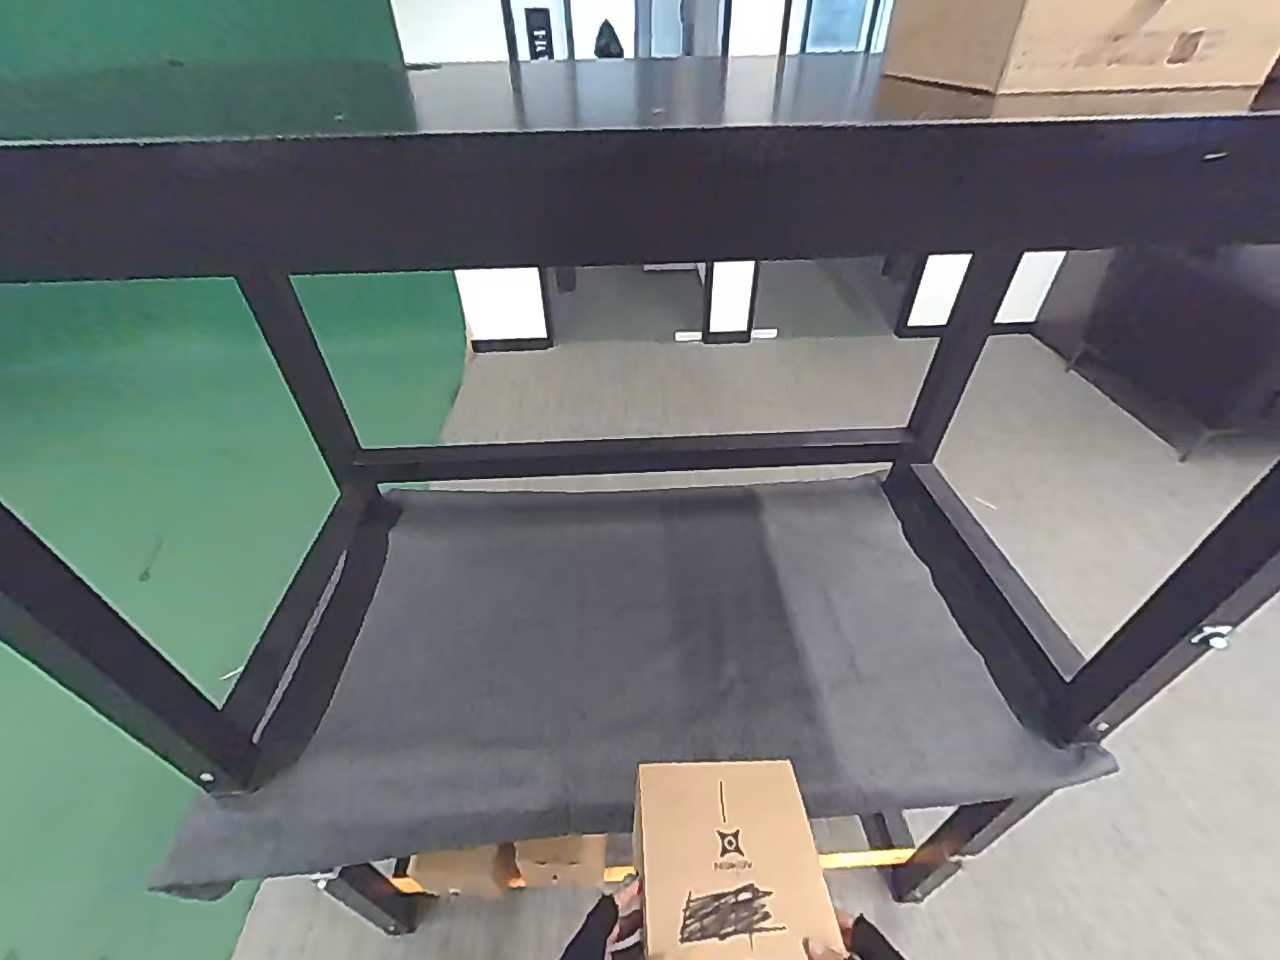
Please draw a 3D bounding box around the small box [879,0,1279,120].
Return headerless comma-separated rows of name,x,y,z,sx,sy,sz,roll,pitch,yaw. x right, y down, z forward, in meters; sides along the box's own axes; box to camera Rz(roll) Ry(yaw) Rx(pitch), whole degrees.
small box,0.282,-0.344,0.350,0.168,0.176,0.179,-3,39,-2
